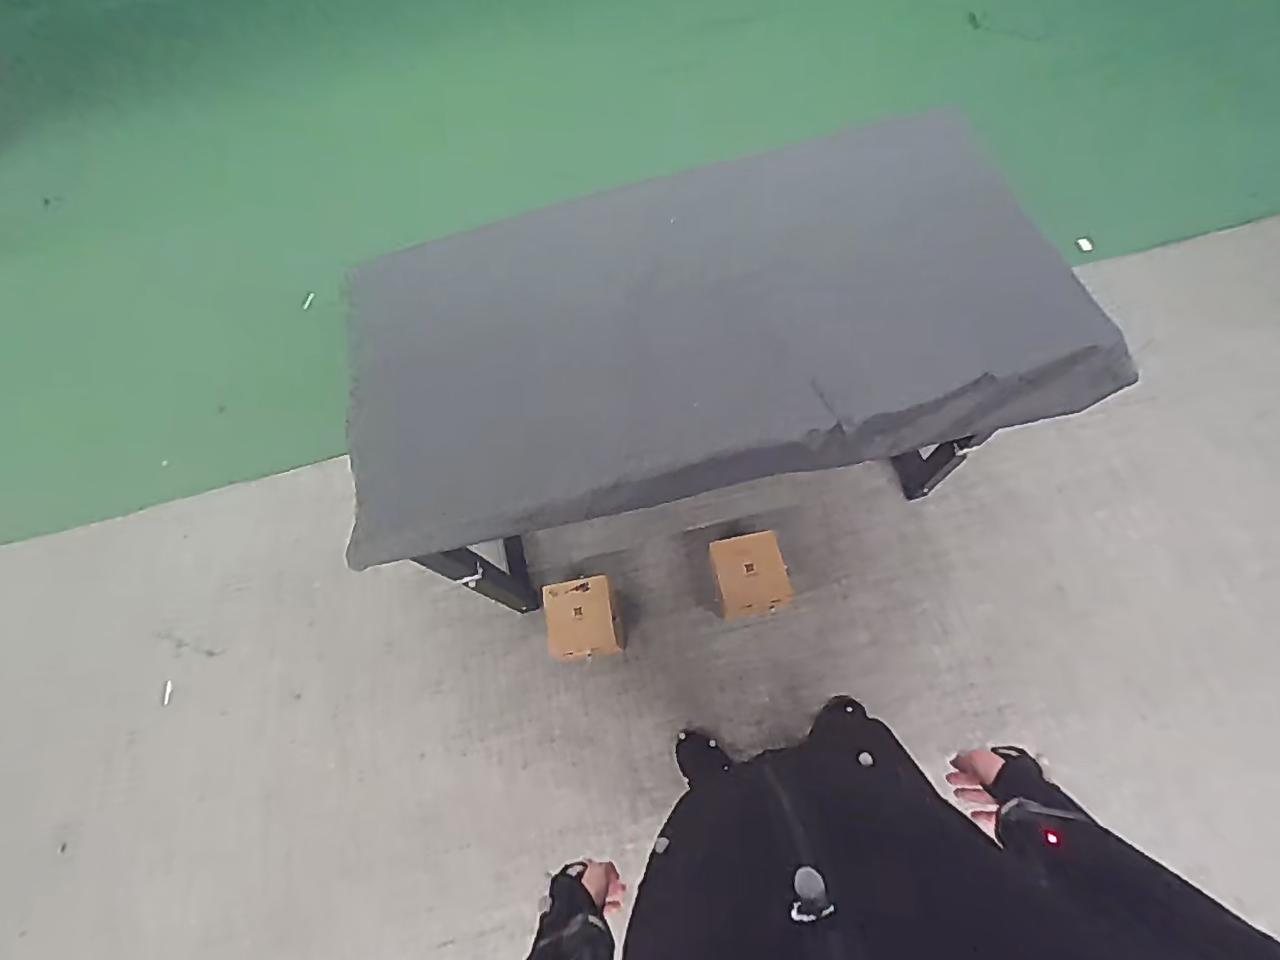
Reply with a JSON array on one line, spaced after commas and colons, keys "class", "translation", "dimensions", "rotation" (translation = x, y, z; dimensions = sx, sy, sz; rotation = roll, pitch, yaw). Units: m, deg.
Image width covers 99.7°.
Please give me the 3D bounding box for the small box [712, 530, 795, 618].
[{"class": "small box", "translation": [0.286, 0.250, 1.392], "dimensions": [0.168, 0.176, 0.179], "rotation": [-13, 65, 1]}]
